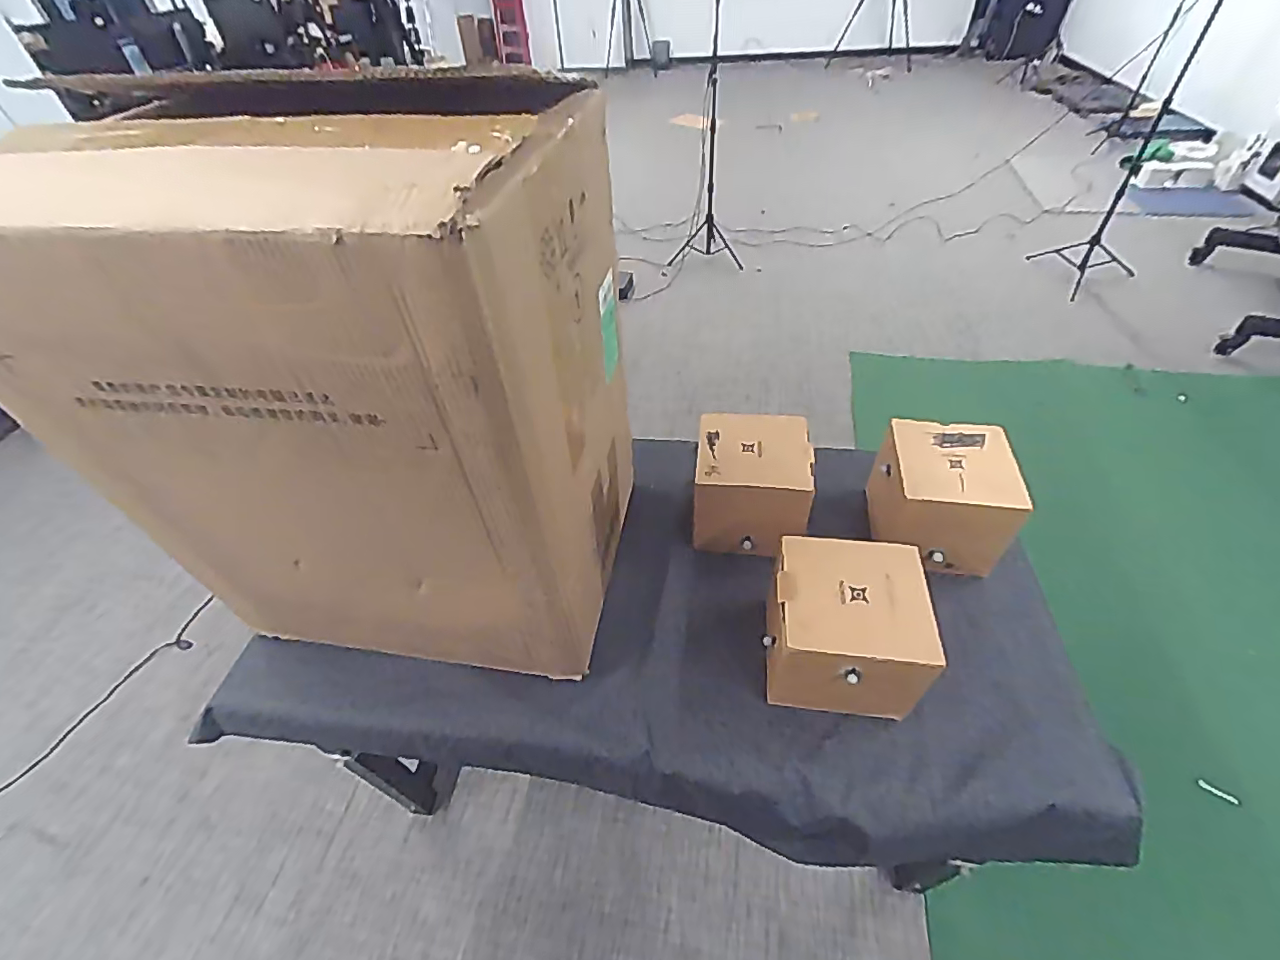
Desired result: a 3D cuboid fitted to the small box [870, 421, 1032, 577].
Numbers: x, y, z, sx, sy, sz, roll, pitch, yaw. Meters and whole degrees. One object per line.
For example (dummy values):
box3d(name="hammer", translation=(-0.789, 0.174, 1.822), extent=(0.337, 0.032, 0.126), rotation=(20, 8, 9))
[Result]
box3d(name="small box", translation=(0.479, 0.029, 0.868), extent=(0.168, 0.176, 0.179), rotation=(5, 48, 10))

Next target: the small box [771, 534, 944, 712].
box3d(name="small box", translation=(0.272, 0.194, 0.727), extent=(0.179, 0.176, 0.168), rotation=(5, 48, 8))
